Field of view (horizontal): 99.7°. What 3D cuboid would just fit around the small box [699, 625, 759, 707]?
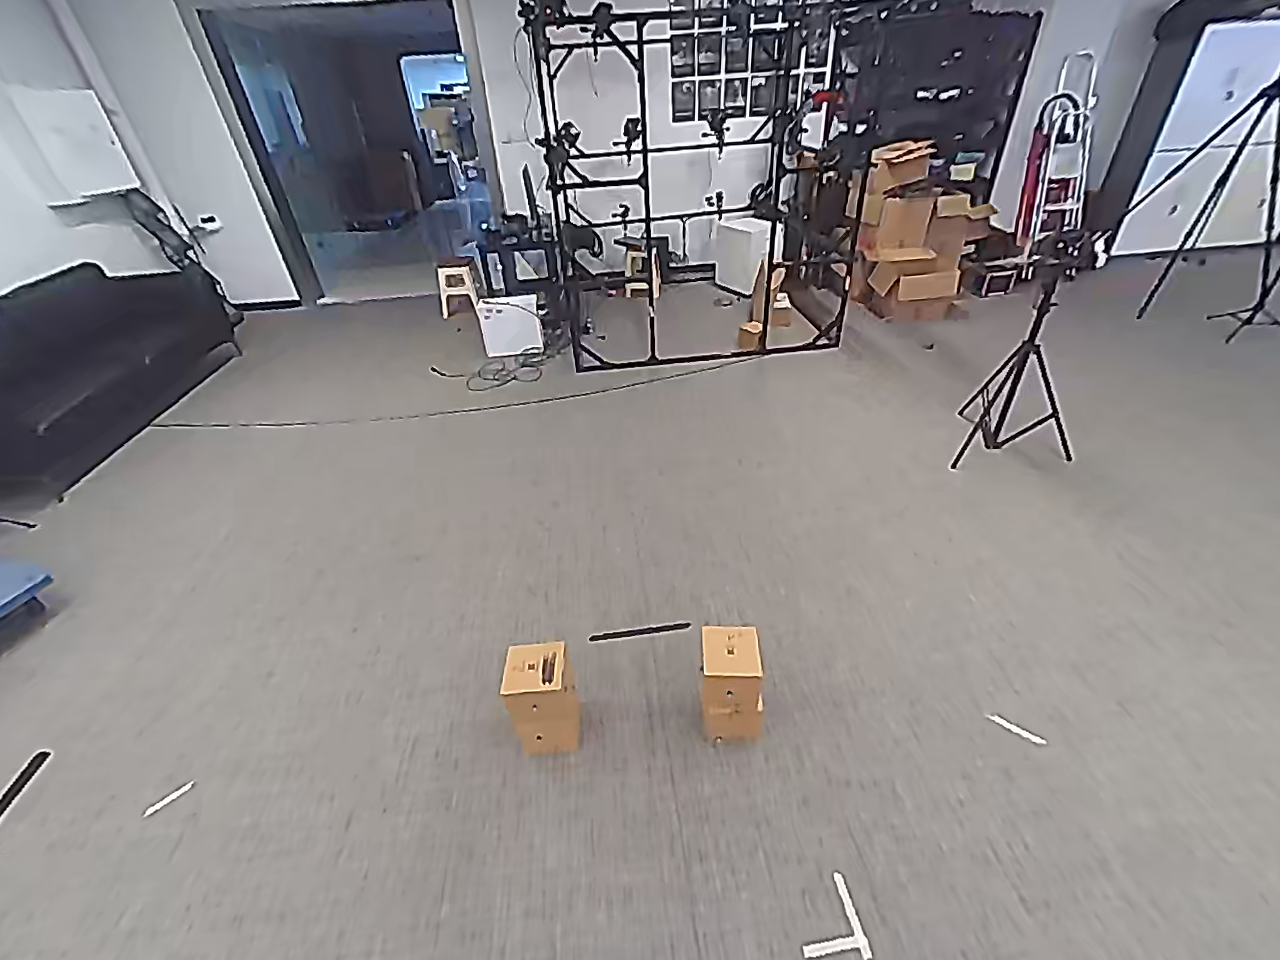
[{"bbox_3d":[0.264,0.561,1.626,0.168,0.176,0.179,0,36,4],"label":"small box"}]

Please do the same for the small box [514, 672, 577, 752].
[{"bbox_3d":[-0.292,0.742,1.715,0.168,0.176,0.179,-6,35,-1],"label":"small box"}]

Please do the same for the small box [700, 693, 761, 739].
[{"bbox_3d":[0.281,0.701,1.712,0.168,0.176,0.179,-4,35,0],"label":"small box"}]
